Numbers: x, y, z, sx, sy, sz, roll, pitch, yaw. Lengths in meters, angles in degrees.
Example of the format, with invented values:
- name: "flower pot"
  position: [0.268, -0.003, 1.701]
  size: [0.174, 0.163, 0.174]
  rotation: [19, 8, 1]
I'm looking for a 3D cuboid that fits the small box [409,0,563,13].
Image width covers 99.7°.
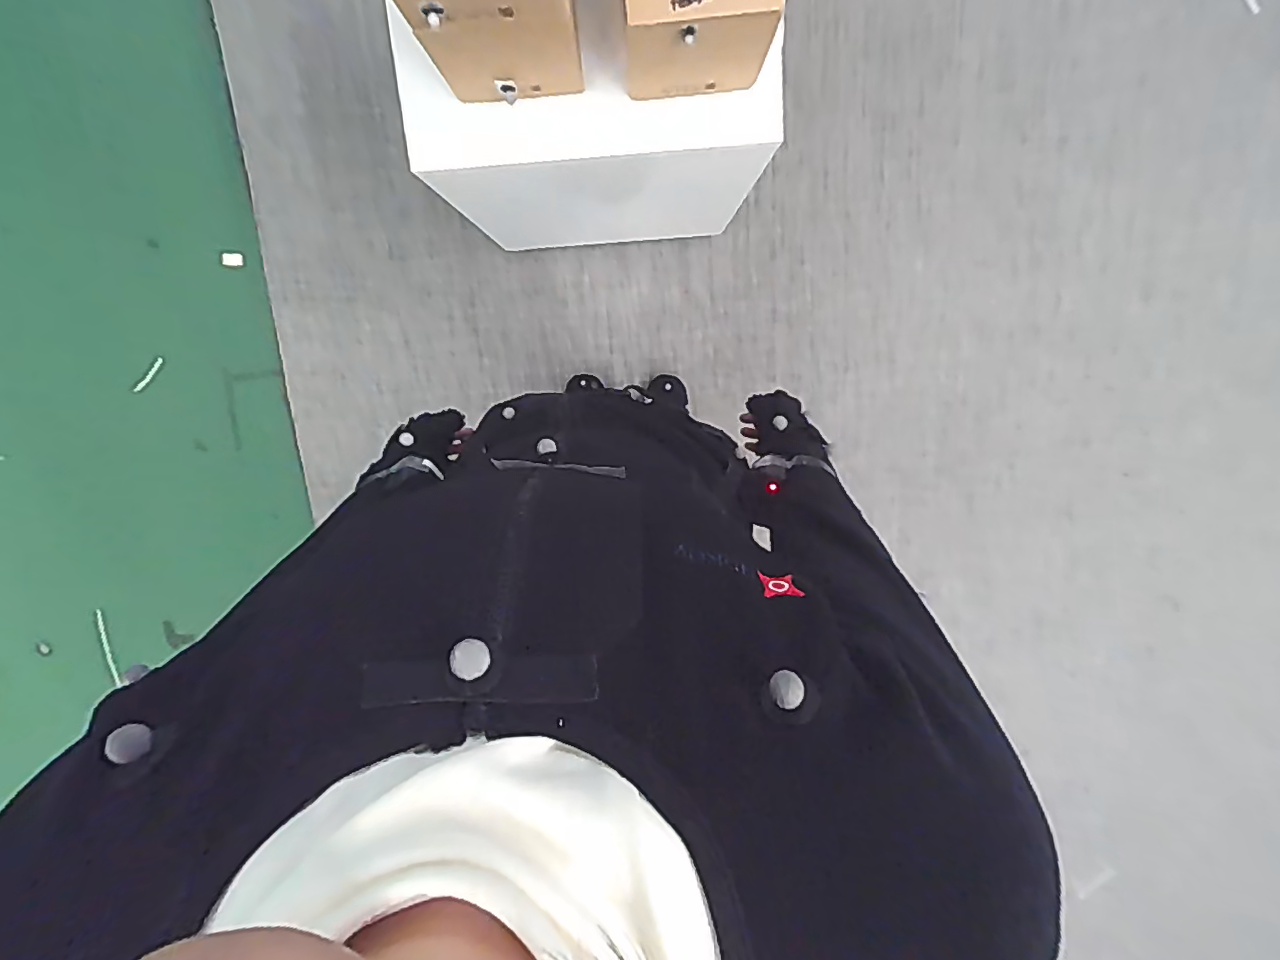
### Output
- name: "small box"
  position: [-0.160, -0.544, 0.464]
  size: [0.168, 0.176, 0.179]
  rotation: [-3, 101, 1]

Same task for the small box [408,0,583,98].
- name: "small box"
  position: [-0.161, -0.573, 0.609]
  size: [0.168, 0.176, 0.179]
  rotation: [-6, 103, 2]

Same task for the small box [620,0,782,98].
- name: "small box"
  position: [0.059, -0.580, 0.621]
  size: [0.168, 0.176, 0.179]
  rotation: [-4, 101, 1]
